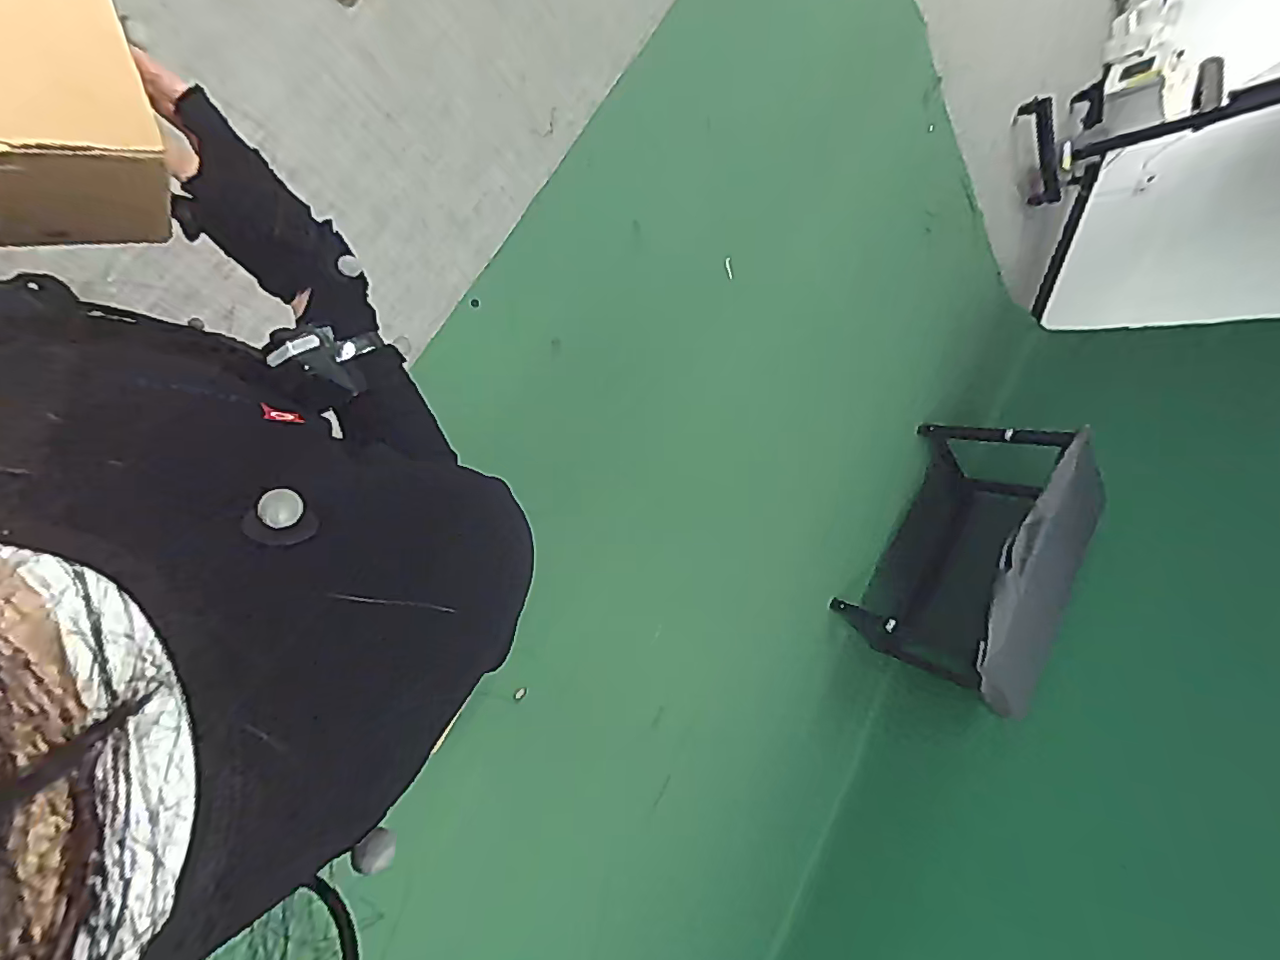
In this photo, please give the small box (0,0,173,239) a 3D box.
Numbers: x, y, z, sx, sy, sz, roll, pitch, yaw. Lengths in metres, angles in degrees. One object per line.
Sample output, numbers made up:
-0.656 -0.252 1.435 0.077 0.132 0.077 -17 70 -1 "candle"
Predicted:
-0.382 -0.240 0.282 0.168 0.176 0.179 -23 110 -37 "small box"
